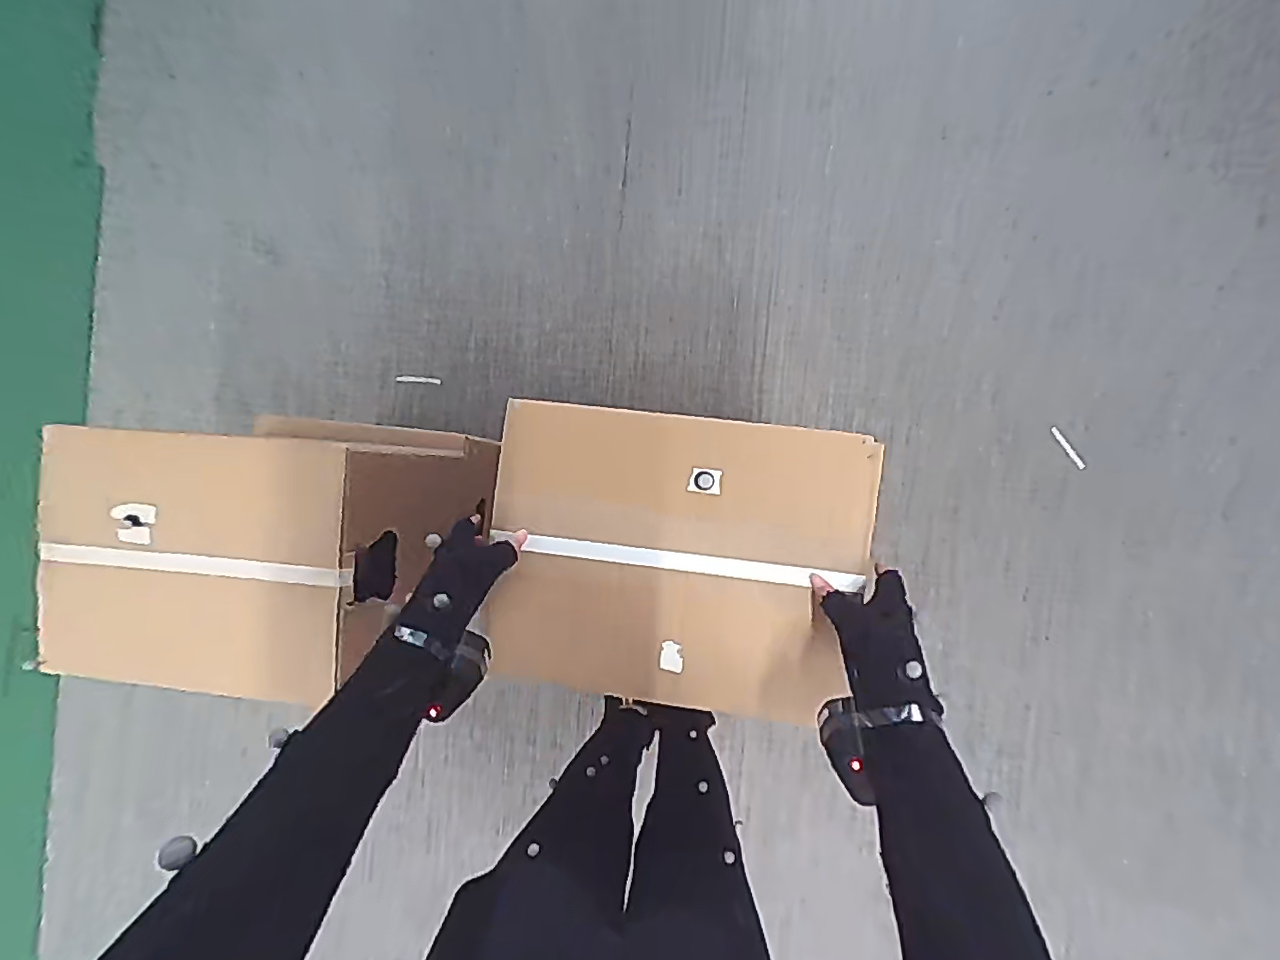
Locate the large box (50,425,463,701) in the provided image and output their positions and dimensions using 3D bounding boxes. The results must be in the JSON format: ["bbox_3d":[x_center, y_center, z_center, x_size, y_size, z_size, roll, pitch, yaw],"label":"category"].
[{"bbox_3d":[-0.519,0.090,0.802,0.408,0.320,0.320,5,92,8],"label":"large box"}]
